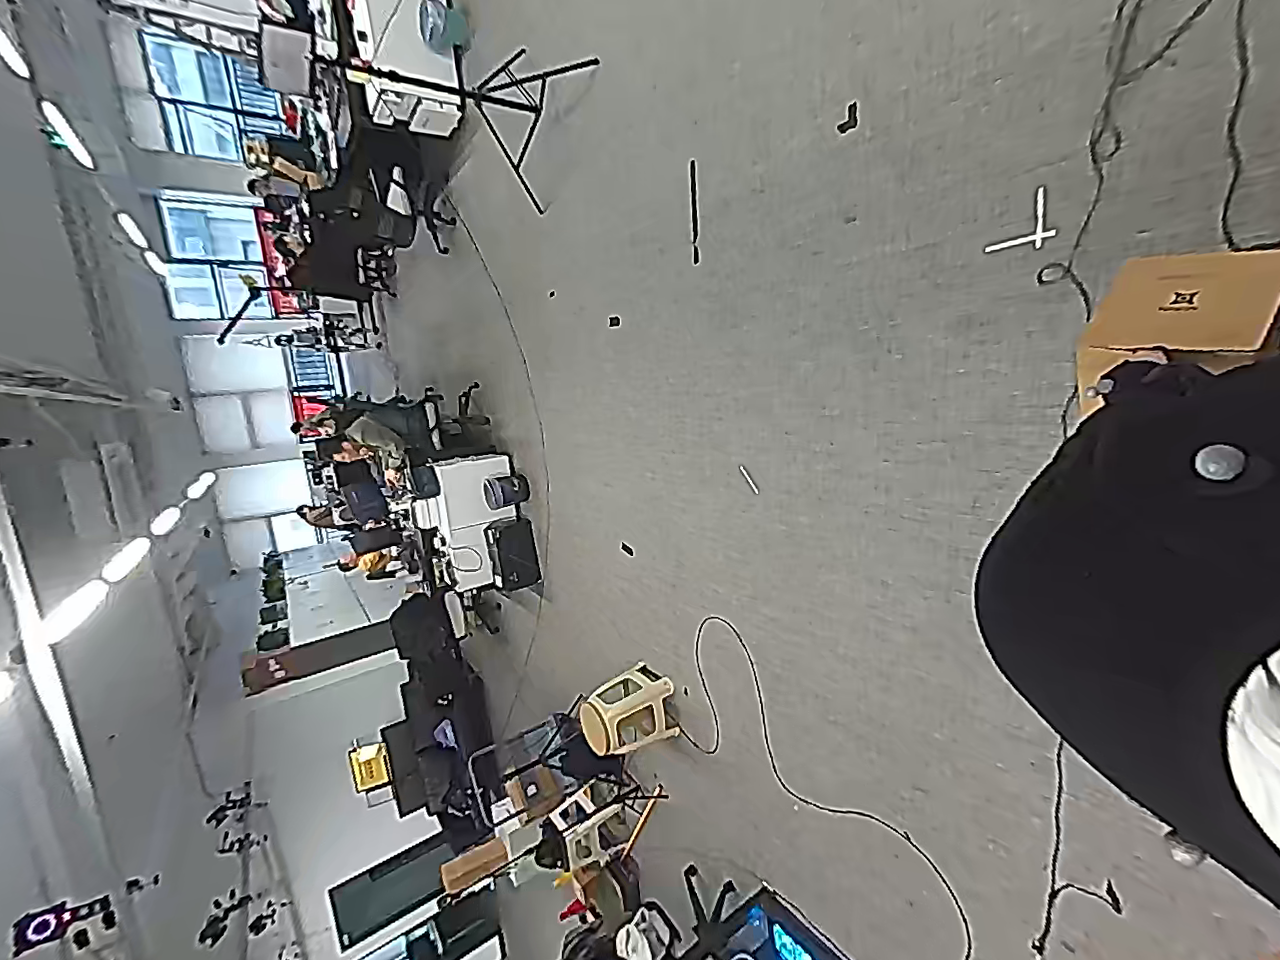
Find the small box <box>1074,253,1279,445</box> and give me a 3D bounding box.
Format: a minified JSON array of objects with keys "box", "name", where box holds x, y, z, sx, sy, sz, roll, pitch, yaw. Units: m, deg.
[{"box":[0.717,-0.170,0.721,0.168,0.179,0.176,21,158,49],"name":"small box"}]
